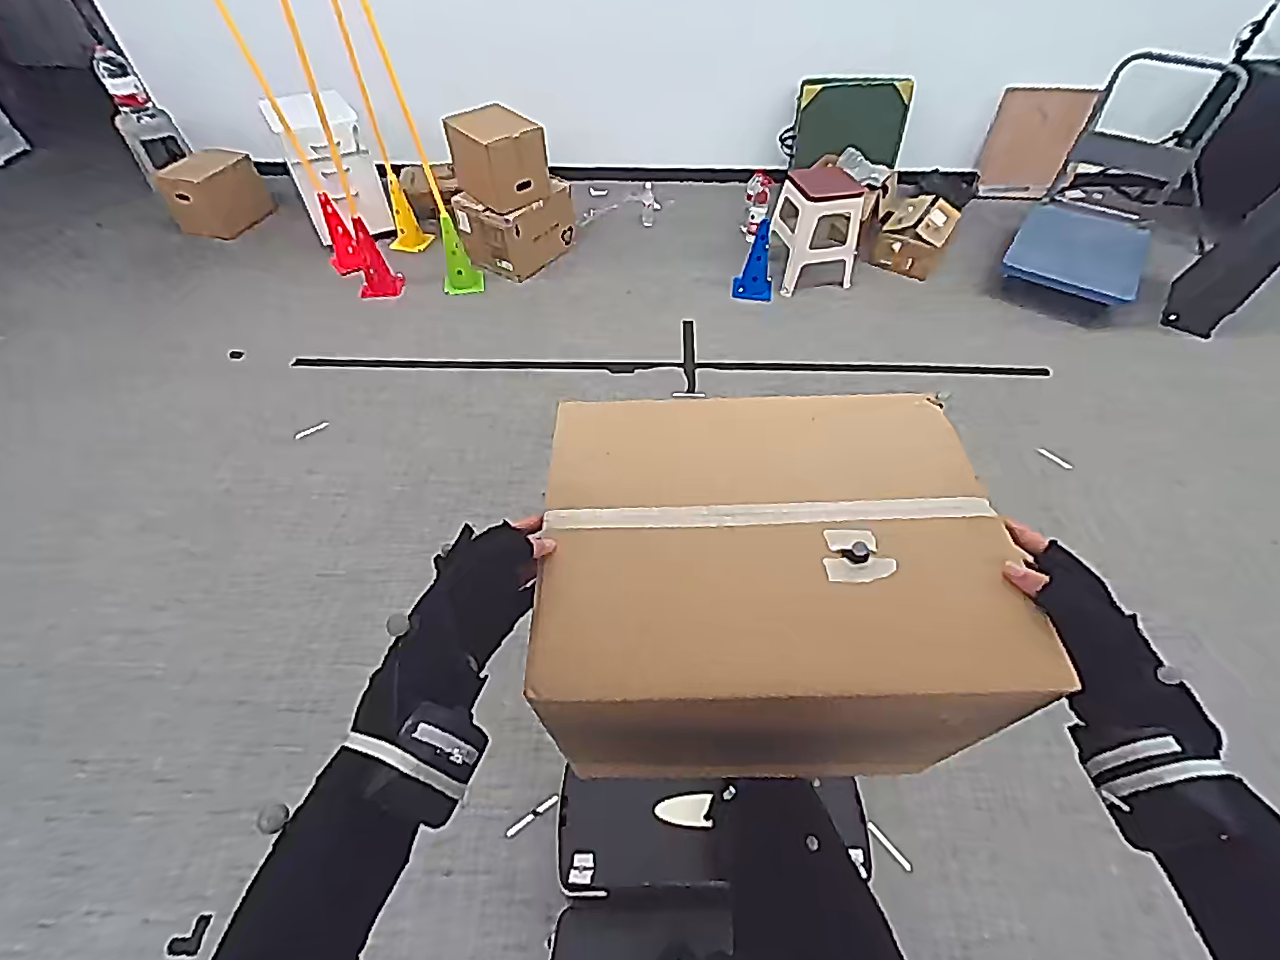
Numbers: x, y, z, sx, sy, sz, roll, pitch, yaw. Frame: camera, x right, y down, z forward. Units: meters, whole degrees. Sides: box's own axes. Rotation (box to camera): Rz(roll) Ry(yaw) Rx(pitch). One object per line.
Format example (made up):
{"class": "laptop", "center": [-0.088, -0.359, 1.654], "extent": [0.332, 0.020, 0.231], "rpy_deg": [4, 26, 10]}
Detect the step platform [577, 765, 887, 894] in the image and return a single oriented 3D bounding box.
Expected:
{"class": "step platform", "center": [0.196, 0.777, 1.256], "extent": [0.684, 0.204, 0.286], "rpy_deg": [0, 51, -1]}

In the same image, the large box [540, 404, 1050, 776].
{"class": "large box", "center": [0.118, 0.134, 0.622], "extent": [0.408, 0.320, 0.320], "rpy_deg": [-1, 52, 1]}
